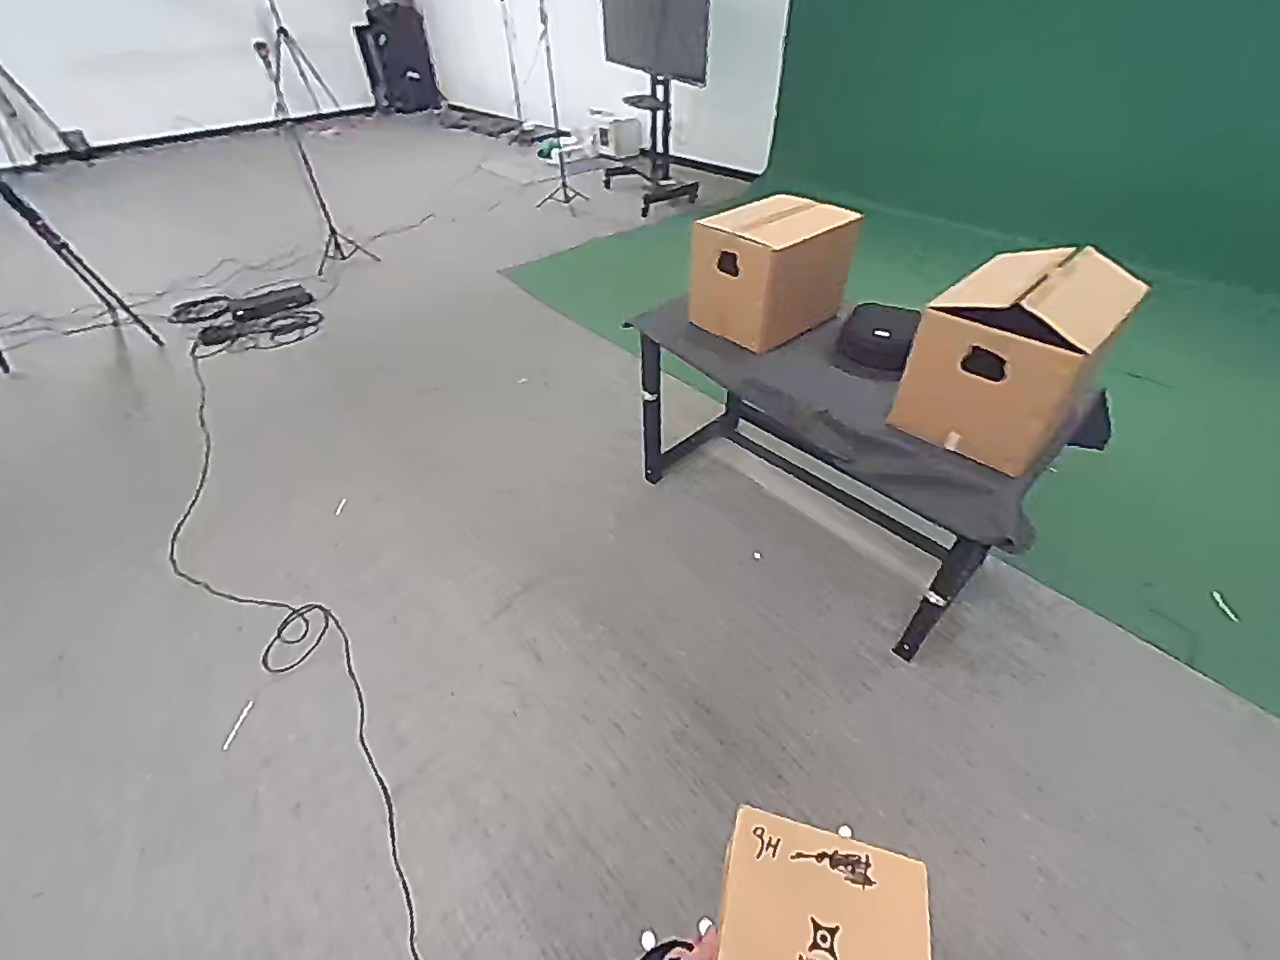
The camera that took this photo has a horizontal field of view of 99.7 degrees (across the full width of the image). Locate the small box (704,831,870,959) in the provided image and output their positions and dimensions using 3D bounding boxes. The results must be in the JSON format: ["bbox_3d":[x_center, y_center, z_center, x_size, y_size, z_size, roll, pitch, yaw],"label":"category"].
[{"bbox_3d":[0.162,0.545,0.623,0.168,0.176,0.179,8,45,13],"label":"small box"}]
